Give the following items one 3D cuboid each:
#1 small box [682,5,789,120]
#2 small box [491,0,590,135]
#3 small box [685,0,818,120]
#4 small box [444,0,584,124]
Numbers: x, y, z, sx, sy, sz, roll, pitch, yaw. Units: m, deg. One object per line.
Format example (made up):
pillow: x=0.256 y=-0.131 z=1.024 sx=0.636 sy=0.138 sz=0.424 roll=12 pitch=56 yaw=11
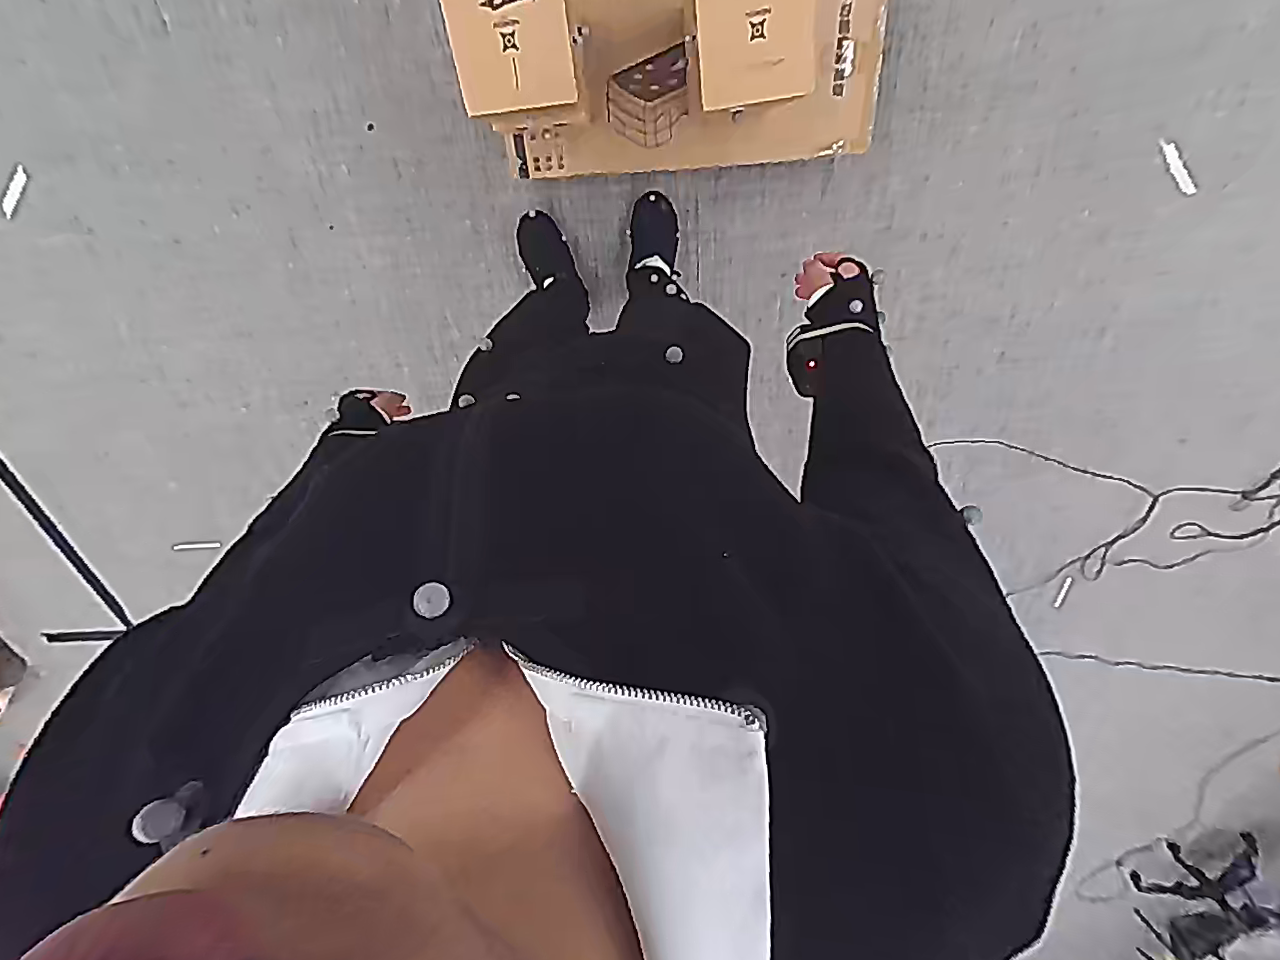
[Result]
small box: x=0.167 y=-0.747 z=0.951 sx=0.168 sy=0.176 sz=0.179 roll=-6 pitch=123 yaw=1
small box: x=-0.181 y=-0.721 z=0.955 sx=0.168 sy=0.176 sz=0.179 roll=-4 pitch=122 yaw=1
small box: x=0.161 y=-0.661 z=0.813 sx=0.168 sy=0.176 sz=0.179 roll=-7 pitch=122 yaw=4
small box: x=-0.179 y=-0.648 z=0.808 sx=0.168 sy=0.176 sz=0.179 roll=-6 pitch=122 yaw=2
